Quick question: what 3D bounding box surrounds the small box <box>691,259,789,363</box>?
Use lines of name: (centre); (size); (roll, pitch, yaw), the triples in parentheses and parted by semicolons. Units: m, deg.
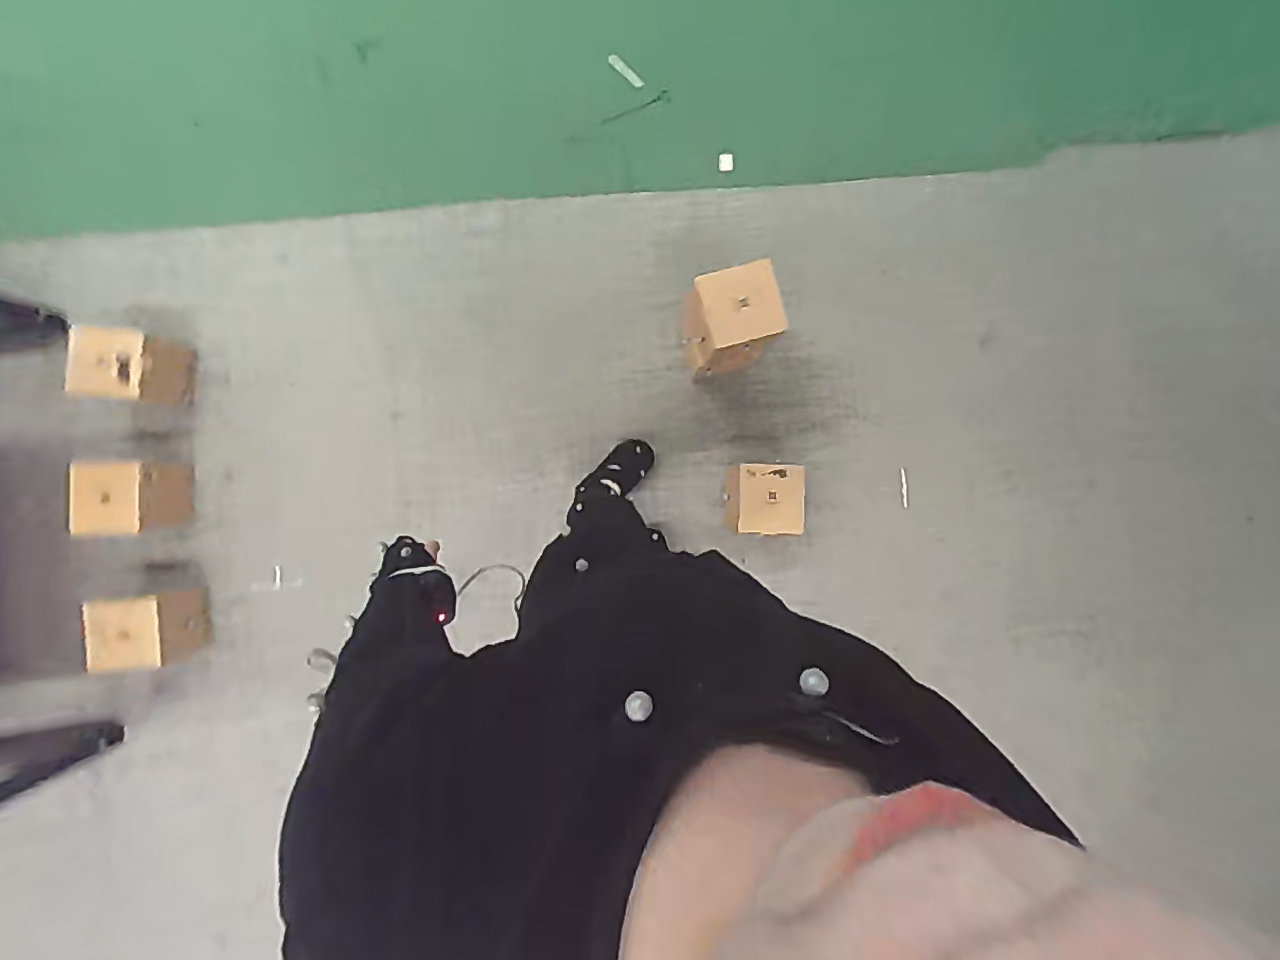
small box: (0.222, -0.383, 1.257); (0.179, 0.176, 0.168); (-14, 90, -2)

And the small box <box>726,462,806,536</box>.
small box: (0.323, 0.047, 1.417); (0.168, 0.176, 0.179); (3, 90, -2)

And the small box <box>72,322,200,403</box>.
small box: (-1.285, -0.296, 1.390); (0.179, 0.176, 0.168); (4, 89, -1)
